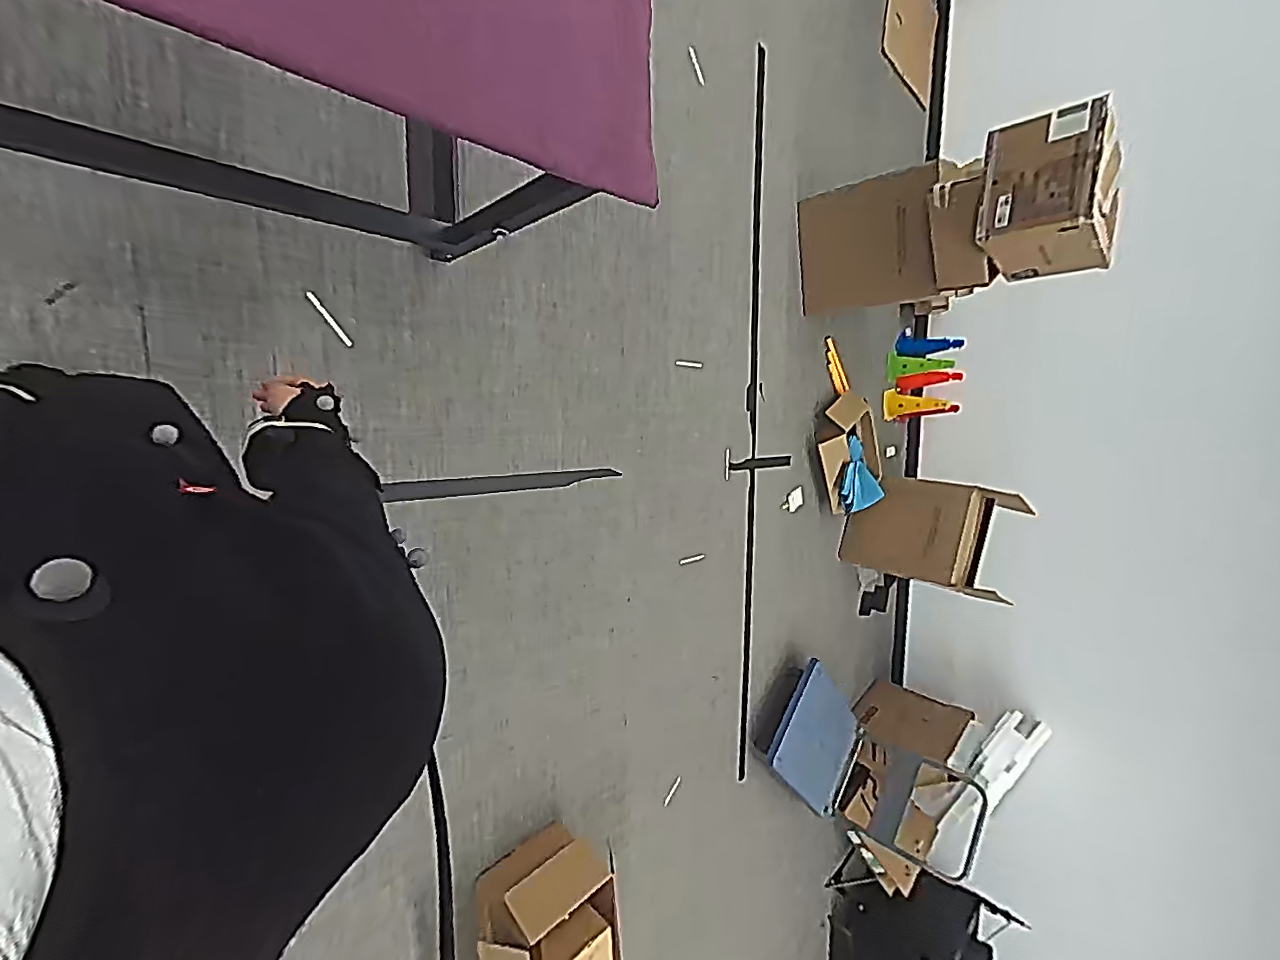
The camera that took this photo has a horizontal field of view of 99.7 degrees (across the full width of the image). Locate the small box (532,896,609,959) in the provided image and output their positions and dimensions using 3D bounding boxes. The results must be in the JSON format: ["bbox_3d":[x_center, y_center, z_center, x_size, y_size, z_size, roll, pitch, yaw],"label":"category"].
[{"bbox_3d":[-0.209,1.418,1.624,0.168,0.176,0.179,-11,102,-44],"label":"small box"}]
